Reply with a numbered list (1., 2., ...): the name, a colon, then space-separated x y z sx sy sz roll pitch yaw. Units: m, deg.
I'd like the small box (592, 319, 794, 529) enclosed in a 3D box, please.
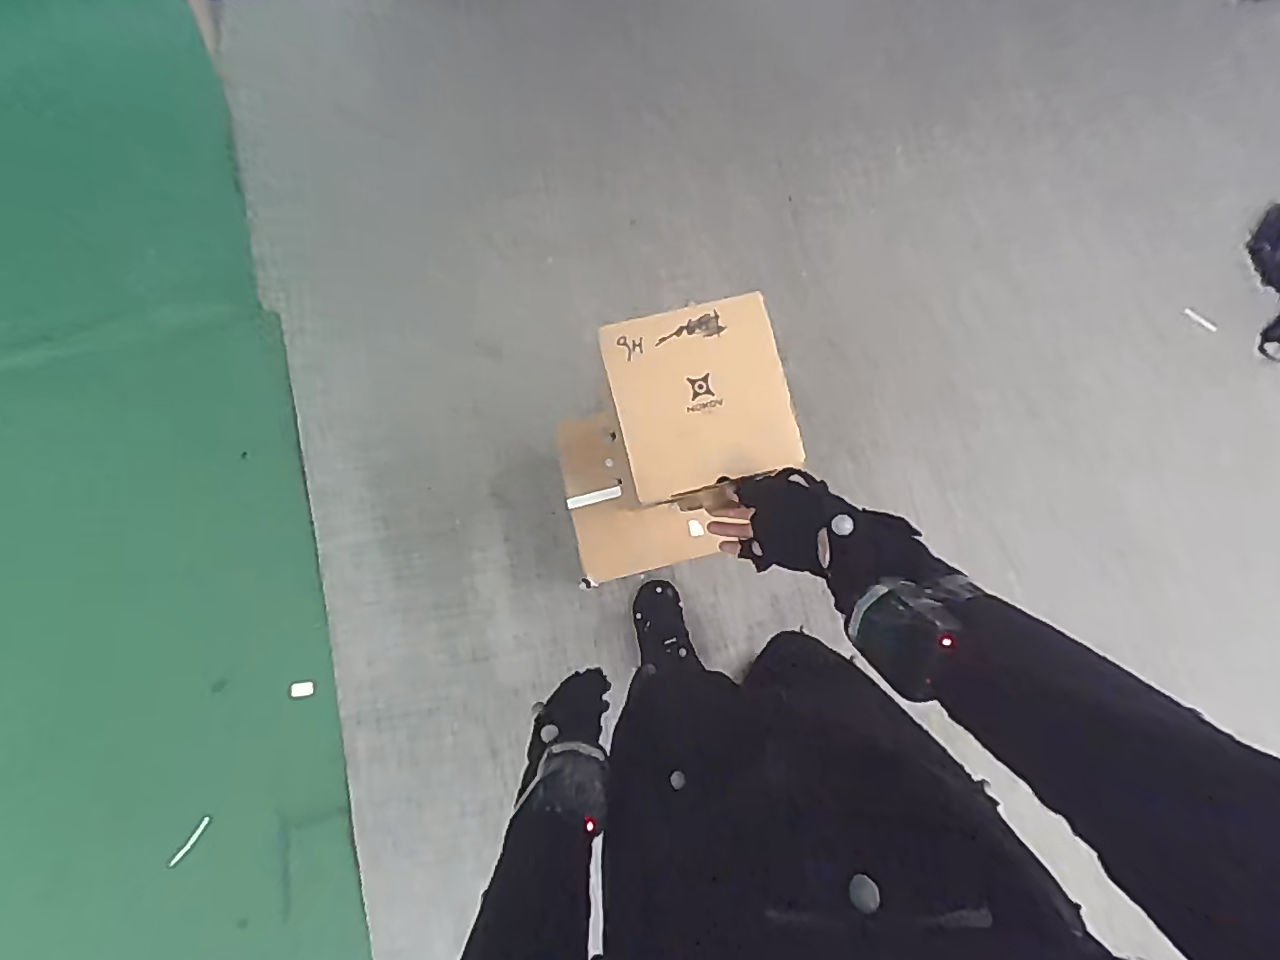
1. small box: 0.048 -0.051 0.599 0.168 0.176 0.179 -14 87 -4
